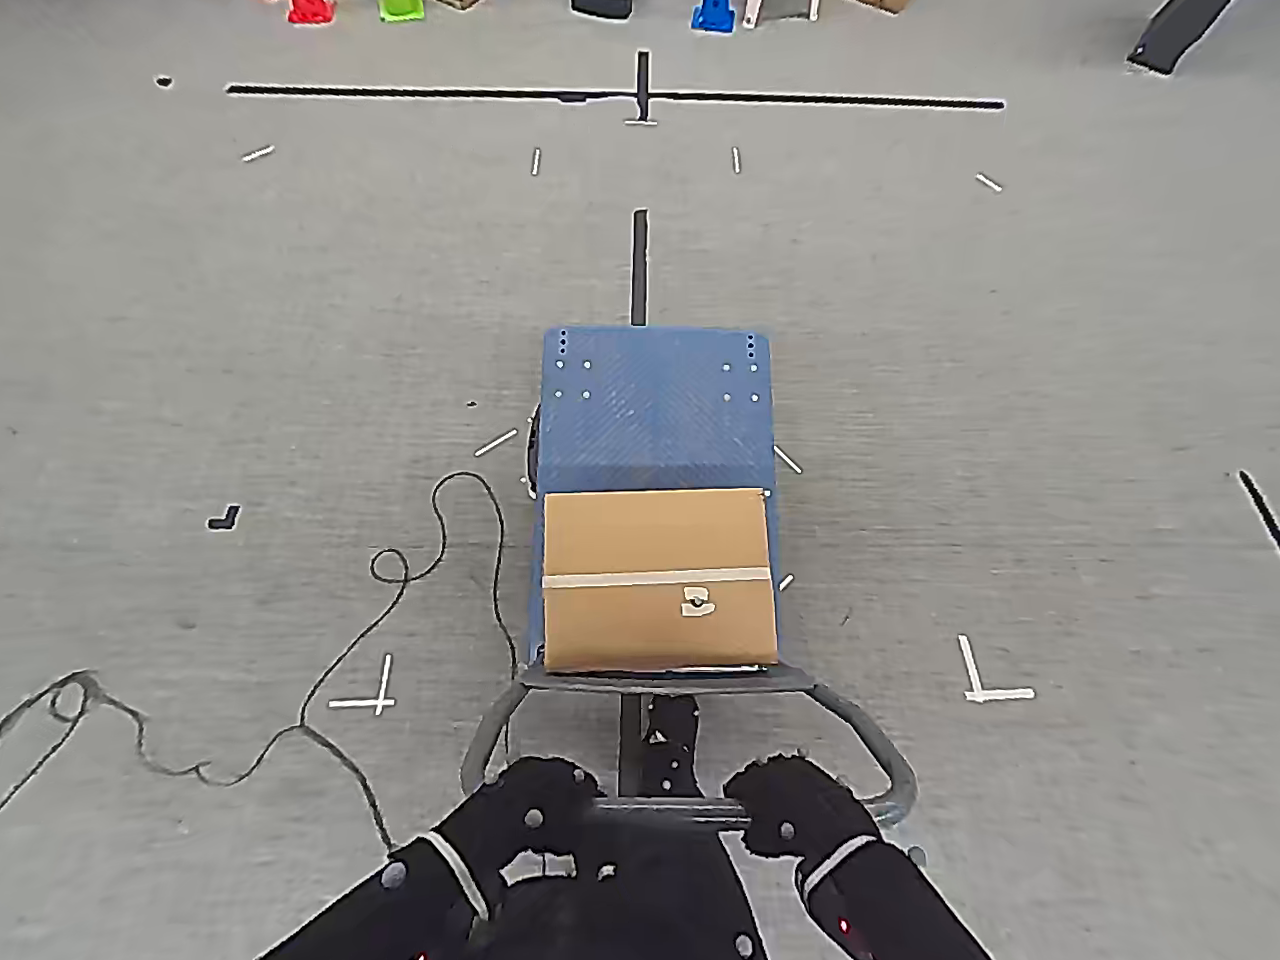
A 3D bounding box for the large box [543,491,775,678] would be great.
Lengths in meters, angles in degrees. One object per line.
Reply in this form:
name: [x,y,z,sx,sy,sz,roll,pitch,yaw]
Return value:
large box: [0.022,0.210,1.101,0.408,0.320,0.320,-1,79,-3]
